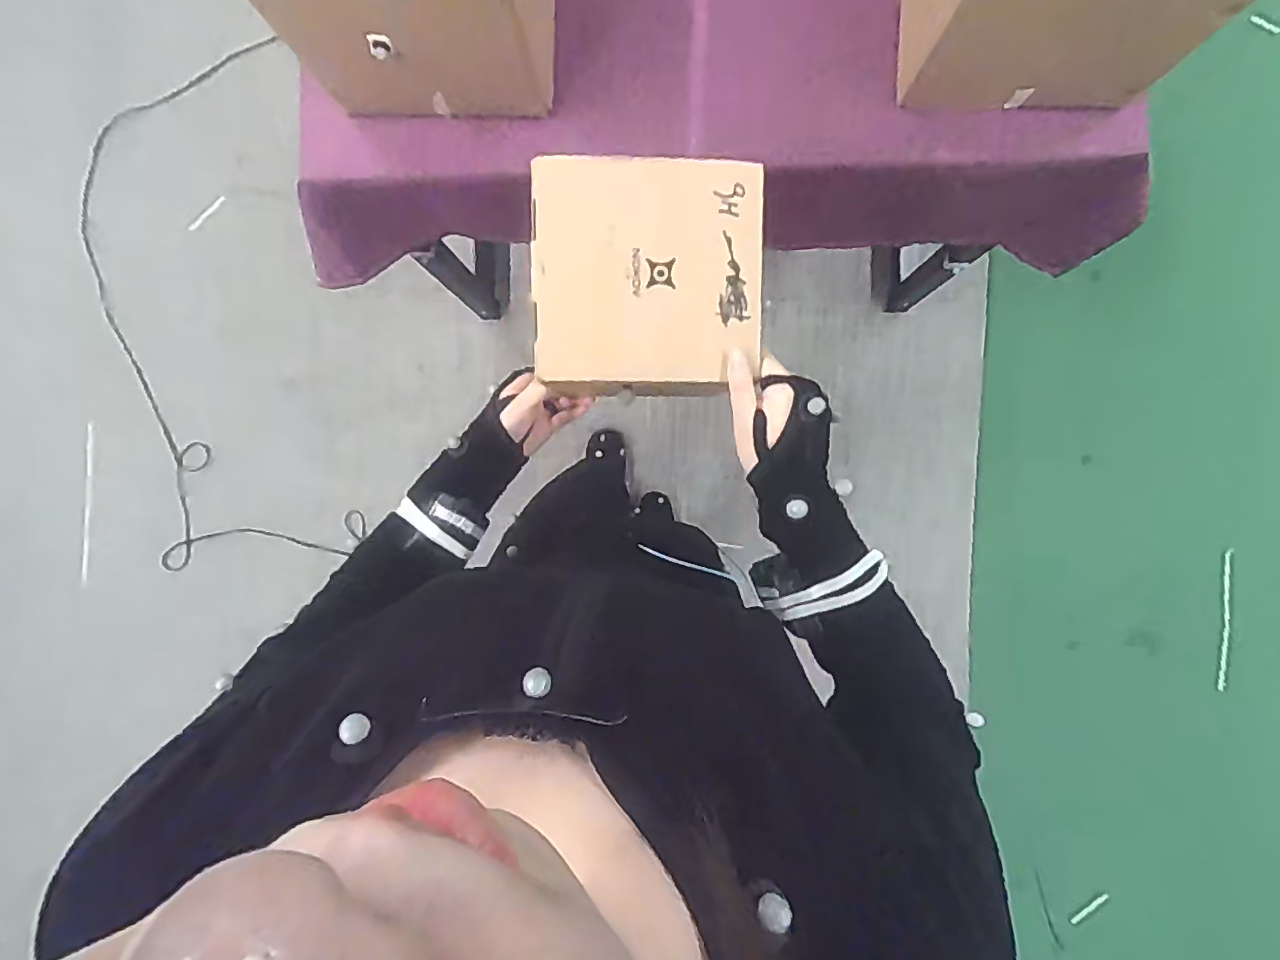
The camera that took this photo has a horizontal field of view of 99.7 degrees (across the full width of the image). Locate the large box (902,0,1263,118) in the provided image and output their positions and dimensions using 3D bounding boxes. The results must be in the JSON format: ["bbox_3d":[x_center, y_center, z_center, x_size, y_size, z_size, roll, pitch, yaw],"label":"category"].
[{"bbox_3d":[0.525,-0.717,0.618,0.320,0.320,0.408,3,90,2],"label":"large box"}]
